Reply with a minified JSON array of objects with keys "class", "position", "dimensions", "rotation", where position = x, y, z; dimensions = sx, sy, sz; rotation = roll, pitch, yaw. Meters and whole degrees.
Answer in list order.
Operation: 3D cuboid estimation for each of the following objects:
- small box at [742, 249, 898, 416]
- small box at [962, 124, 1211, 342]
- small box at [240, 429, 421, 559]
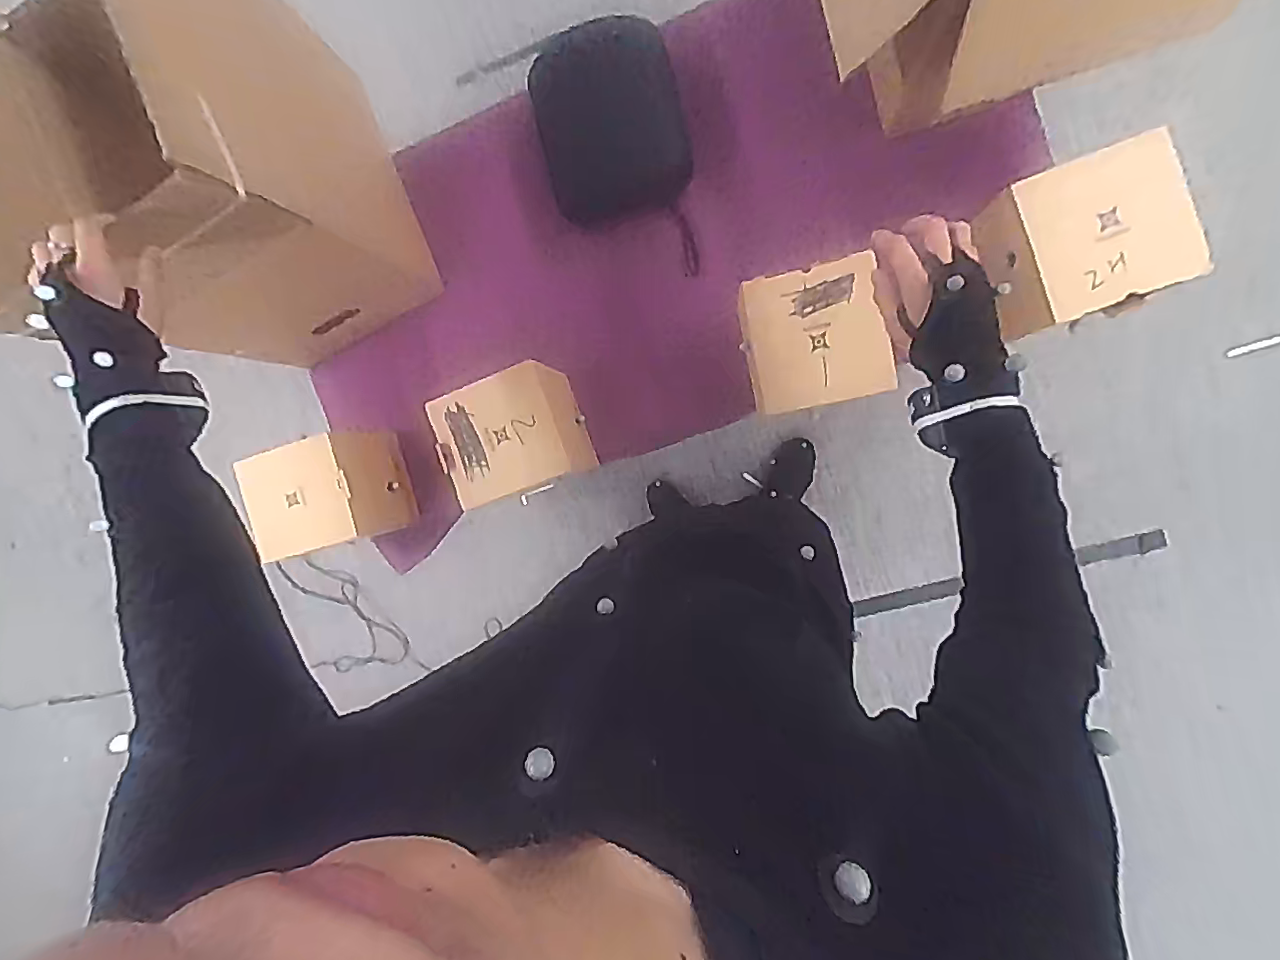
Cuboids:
[{"class":"small box","position":[0.239,-0.192,0.757],"dimensions":[0.168,0.176,0.179],"rotation":[-11,94,10]},{"class":"small box","position":[0.548,-0.297,0.694],"dimensions":[0.168,0.176,0.179],"rotation":[-18,91,12]},{"class":"small box","position":[-0.503,0.020,0.900],"dimensions":[0.179,0.176,0.168],"rotation":[-16,91,9]}]
